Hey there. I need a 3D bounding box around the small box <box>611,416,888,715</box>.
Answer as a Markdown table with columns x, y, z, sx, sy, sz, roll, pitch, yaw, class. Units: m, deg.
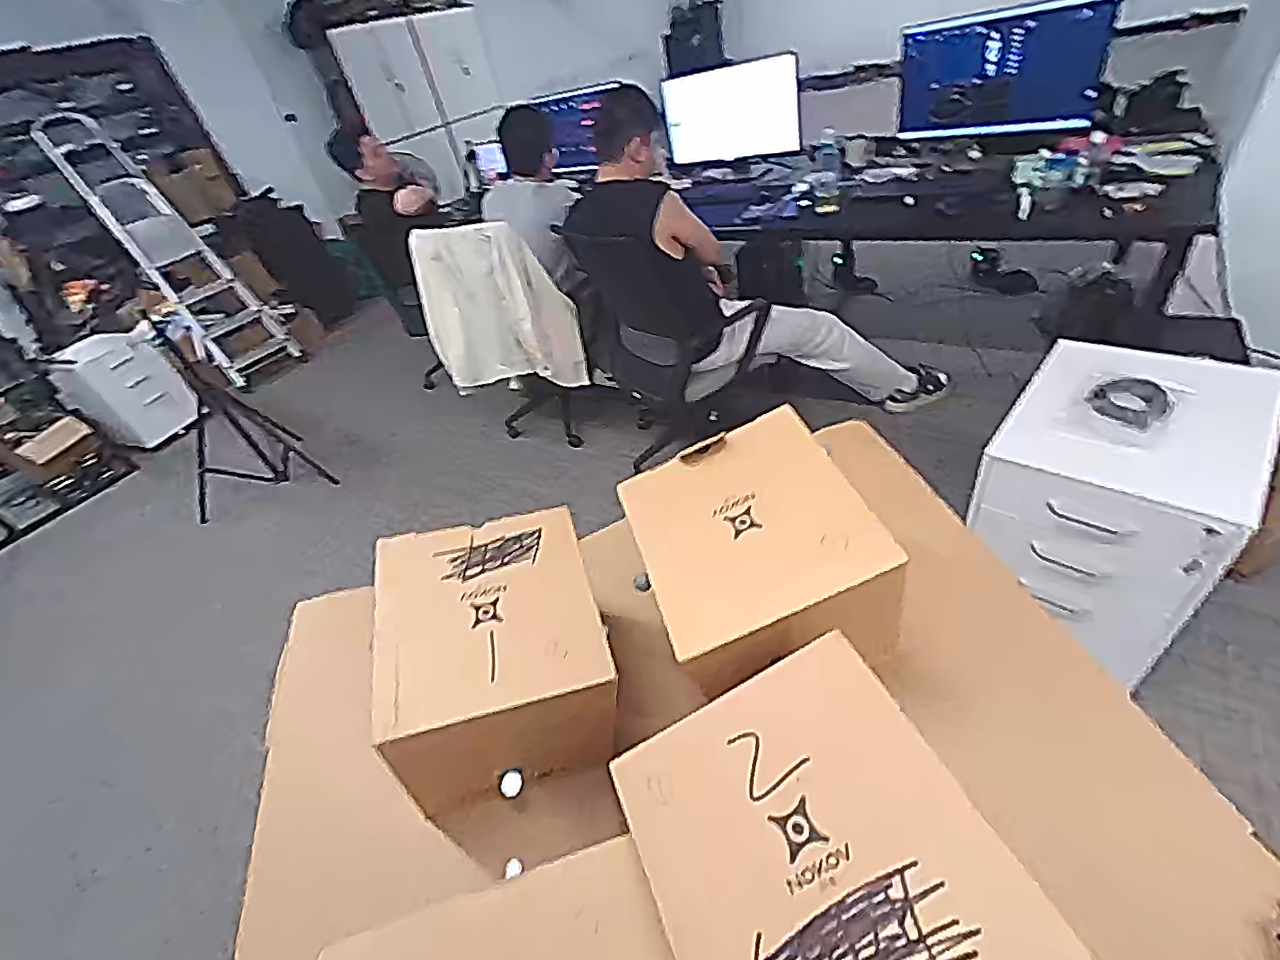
| x | y | z | sx | sy | sz | roll | pitch | yaw | class |
| --- | --- | --- | --- | --- | --- | --- | --- | --- | --- |
| 0.097 | 0.083 | 0.476 | 0.168 | 0.176 | 0.179 | -26 | 45 | 2 | small box |
